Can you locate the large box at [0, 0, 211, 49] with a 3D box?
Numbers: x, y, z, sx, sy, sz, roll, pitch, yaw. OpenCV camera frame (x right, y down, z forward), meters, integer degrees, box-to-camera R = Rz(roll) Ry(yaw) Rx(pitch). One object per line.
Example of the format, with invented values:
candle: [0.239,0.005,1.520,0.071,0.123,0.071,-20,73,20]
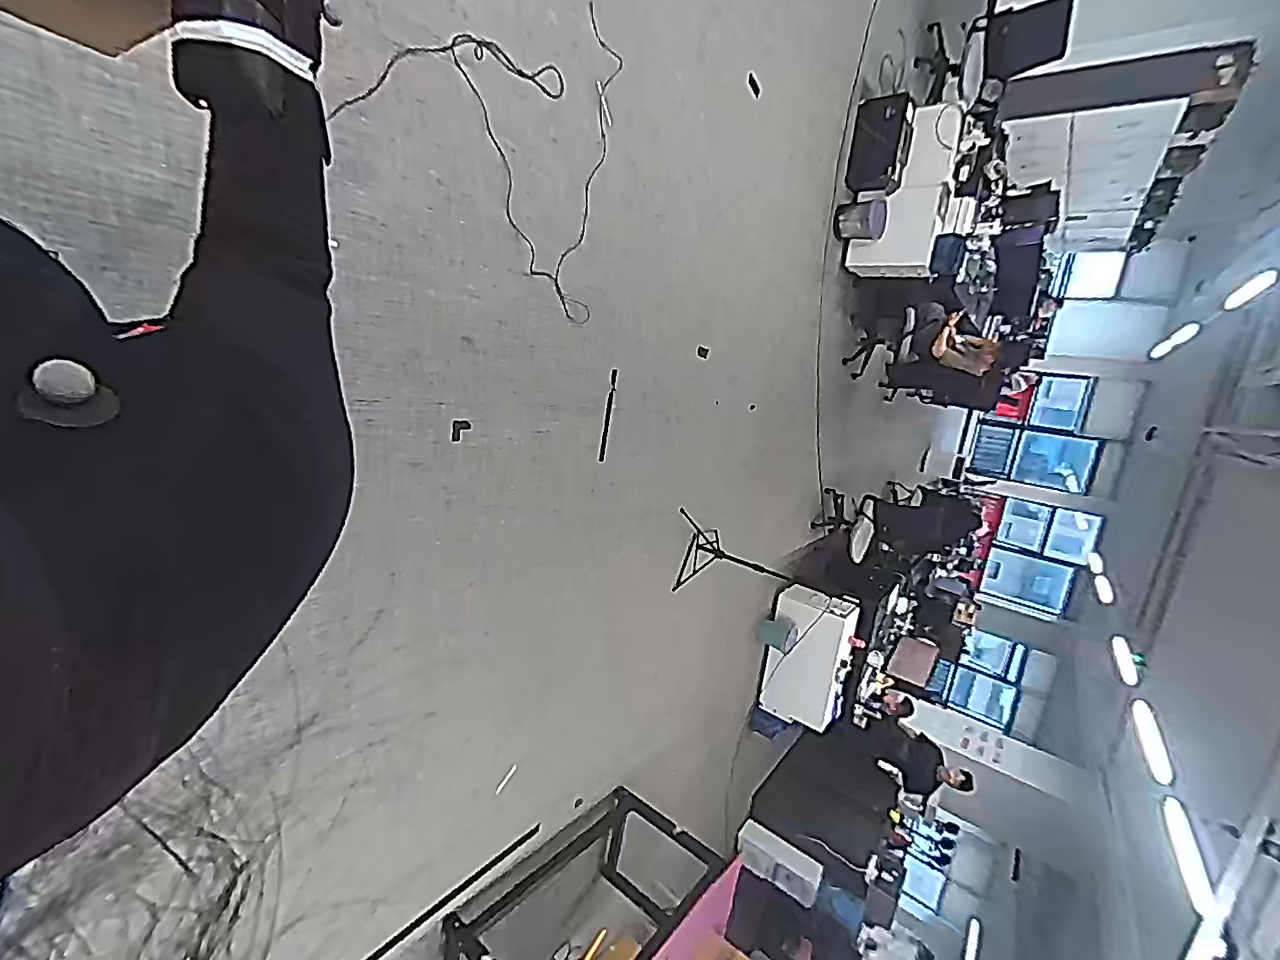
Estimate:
large box: [-0.478,-0.498,0.250,0.408,0.320,0.320,-5,113,-54]
